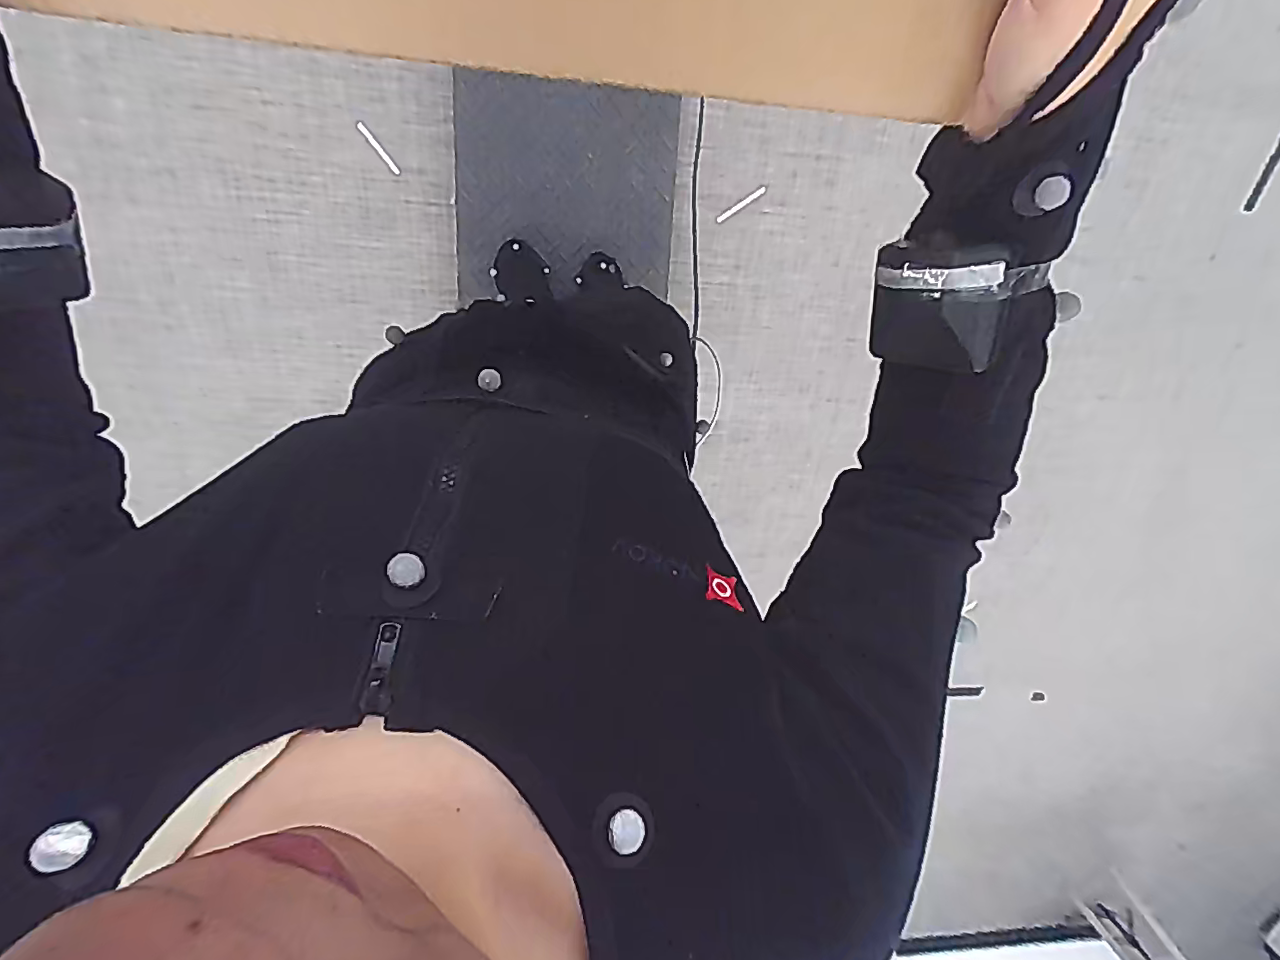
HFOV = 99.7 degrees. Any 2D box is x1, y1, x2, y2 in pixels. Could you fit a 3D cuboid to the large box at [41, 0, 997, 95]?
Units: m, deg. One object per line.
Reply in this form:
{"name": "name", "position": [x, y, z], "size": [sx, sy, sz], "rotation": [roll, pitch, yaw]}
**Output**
{"name": "large box", "position": [-0.045, -0.395, 0.229], "size": [0.408, 0.320, 0.320], "rotation": [2, 136, -6]}
